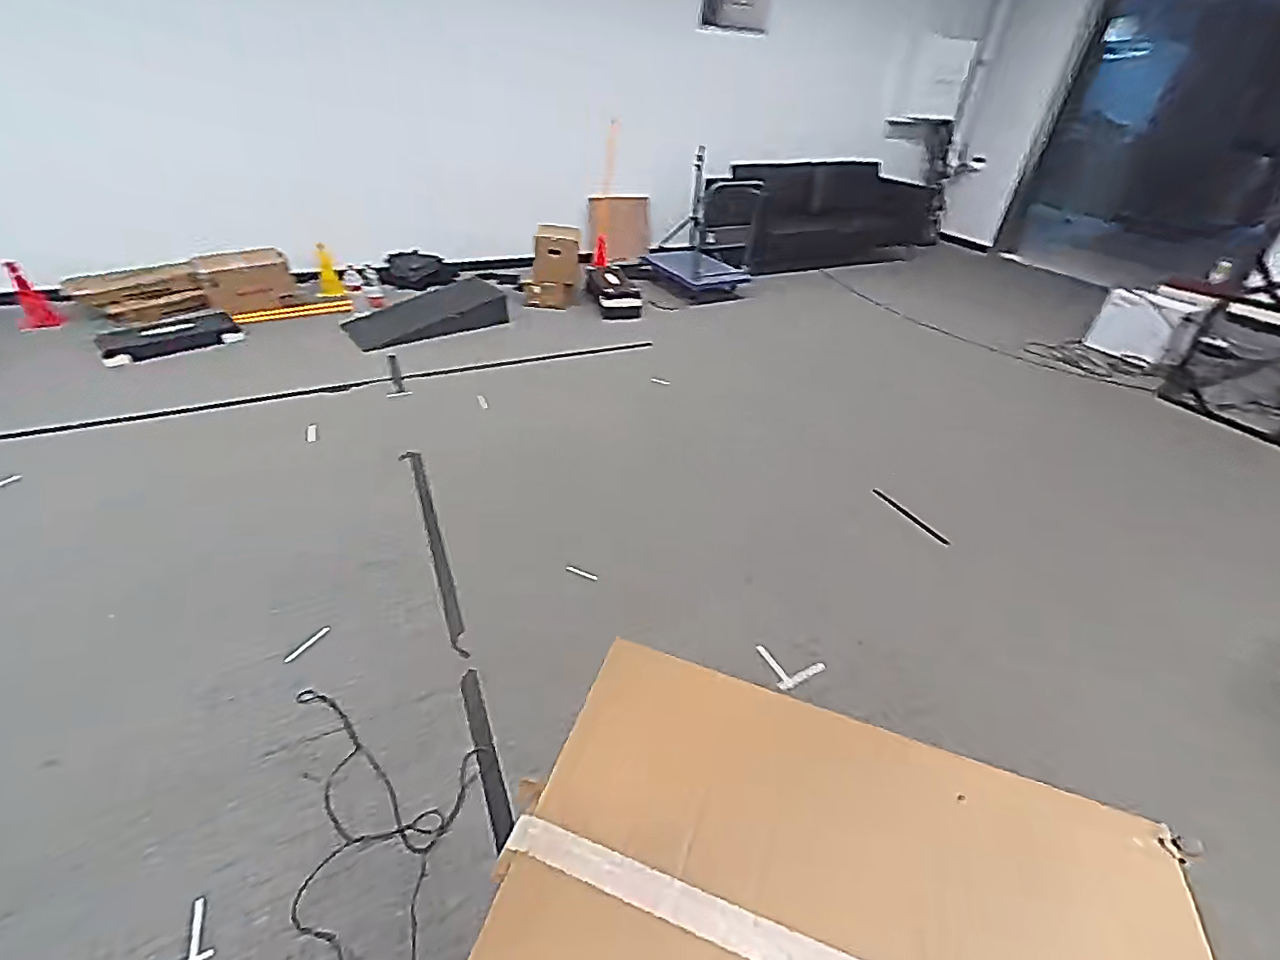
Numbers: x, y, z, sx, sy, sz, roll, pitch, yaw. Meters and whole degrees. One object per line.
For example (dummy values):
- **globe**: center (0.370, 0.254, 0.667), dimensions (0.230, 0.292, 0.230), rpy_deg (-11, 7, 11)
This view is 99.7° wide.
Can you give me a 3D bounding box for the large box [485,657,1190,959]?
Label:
- **large box**: center (0.108, 0.399, 0.409), dimensions (0.408, 0.320, 0.320), rpy_deg (14, 43, 13)
